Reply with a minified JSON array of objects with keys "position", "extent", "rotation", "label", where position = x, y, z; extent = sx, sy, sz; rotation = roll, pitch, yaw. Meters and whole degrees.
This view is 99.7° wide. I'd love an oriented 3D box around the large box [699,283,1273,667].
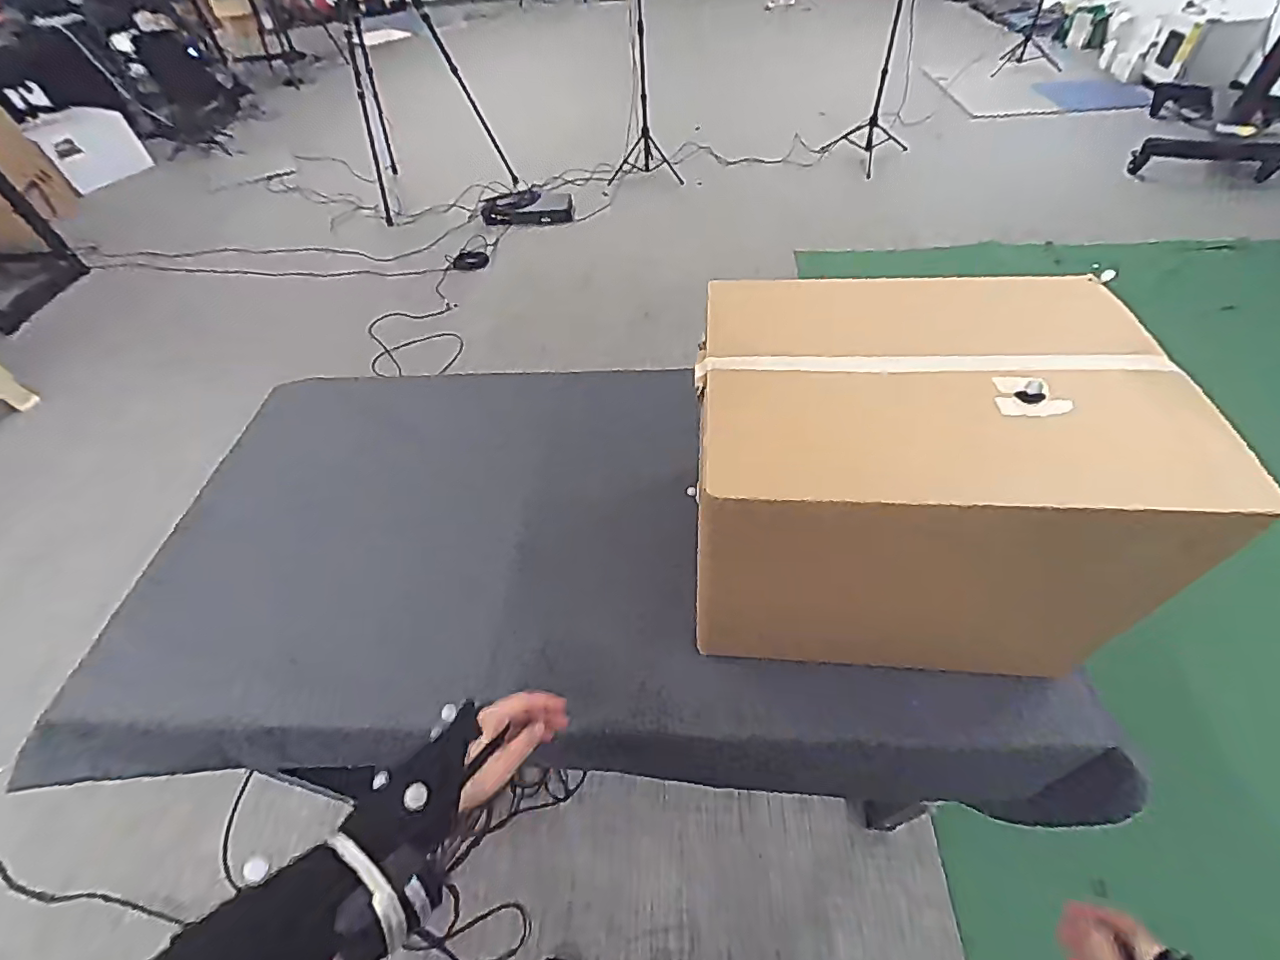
[{"position":[0.274,-0.003,0.609],"extent":[0.408,0.320,0.320],"rotation":[2,51,5],"label":"large box"}]
